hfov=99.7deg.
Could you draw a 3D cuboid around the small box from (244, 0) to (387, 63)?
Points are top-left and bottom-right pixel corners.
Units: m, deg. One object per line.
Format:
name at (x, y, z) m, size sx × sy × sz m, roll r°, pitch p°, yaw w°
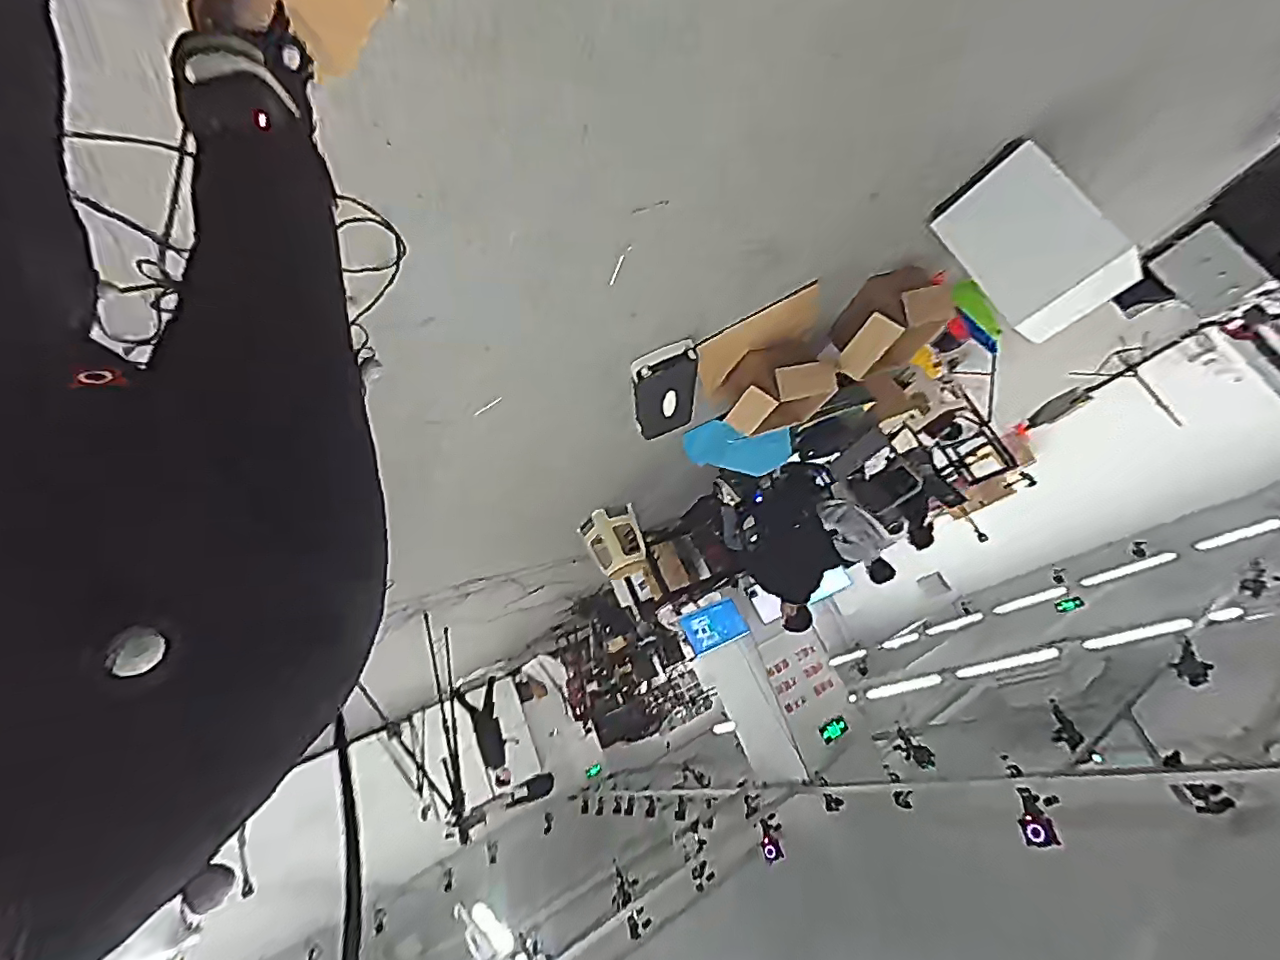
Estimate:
small box at (-0.298, -0.510, 0.465) m, size 0.168 × 0.176 × 0.179 m, roll 24°, pitch 100°, yaw -43°
